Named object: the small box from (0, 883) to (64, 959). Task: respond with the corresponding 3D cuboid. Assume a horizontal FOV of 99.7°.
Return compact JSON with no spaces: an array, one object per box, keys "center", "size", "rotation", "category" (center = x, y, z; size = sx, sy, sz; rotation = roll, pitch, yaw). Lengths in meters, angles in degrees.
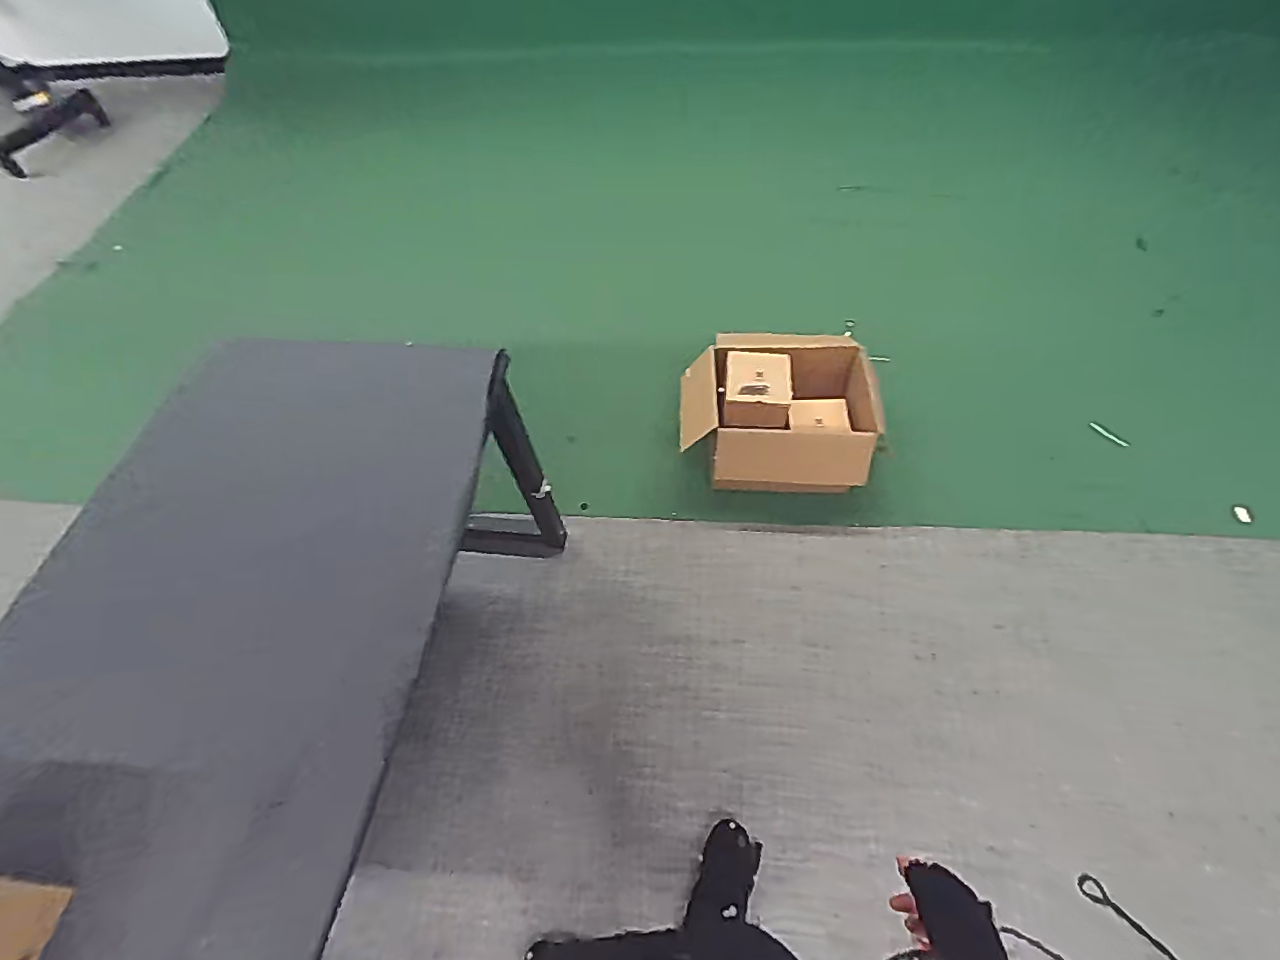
[{"center":[-0.715,0.472,0.486],"size":[0.179,0.176,0.168],"rotation":[3,59,5],"category":"small box"}]
